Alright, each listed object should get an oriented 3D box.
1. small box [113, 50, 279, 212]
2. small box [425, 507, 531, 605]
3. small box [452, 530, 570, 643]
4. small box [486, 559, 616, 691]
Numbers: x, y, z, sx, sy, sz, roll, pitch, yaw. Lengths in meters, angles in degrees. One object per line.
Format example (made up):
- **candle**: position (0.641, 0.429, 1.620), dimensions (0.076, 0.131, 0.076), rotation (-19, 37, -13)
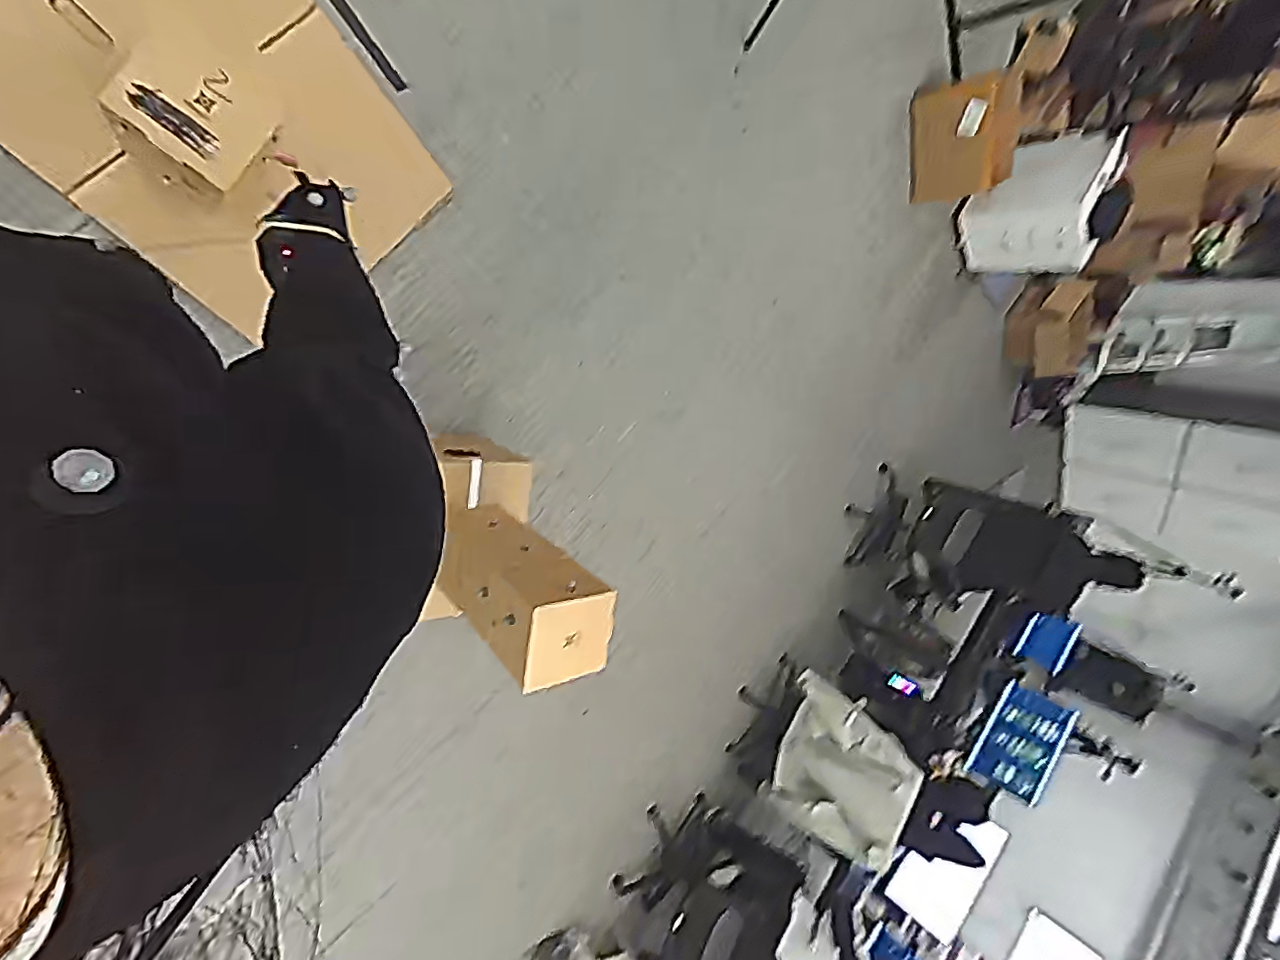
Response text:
- **small box**: position (-0.806, -0.625, 0.991), dimensions (0.168, 0.176, 0.179), rotation (39, 80, -40)
- **small box**: position (-0.379, 0.167, 1.255), dimensions (0.179, 0.176, 0.168), rotation (-2, 107, -40)
- **small box**: position (-0.273, 0.213, 1.139), dimensions (0.179, 0.176, 0.168), rotation (-2, 107, -41)
- **small box**: position (-0.173, 0.262, 1.020), dimensions (0.179, 0.176, 0.168), rotation (-2, 108, -41)
